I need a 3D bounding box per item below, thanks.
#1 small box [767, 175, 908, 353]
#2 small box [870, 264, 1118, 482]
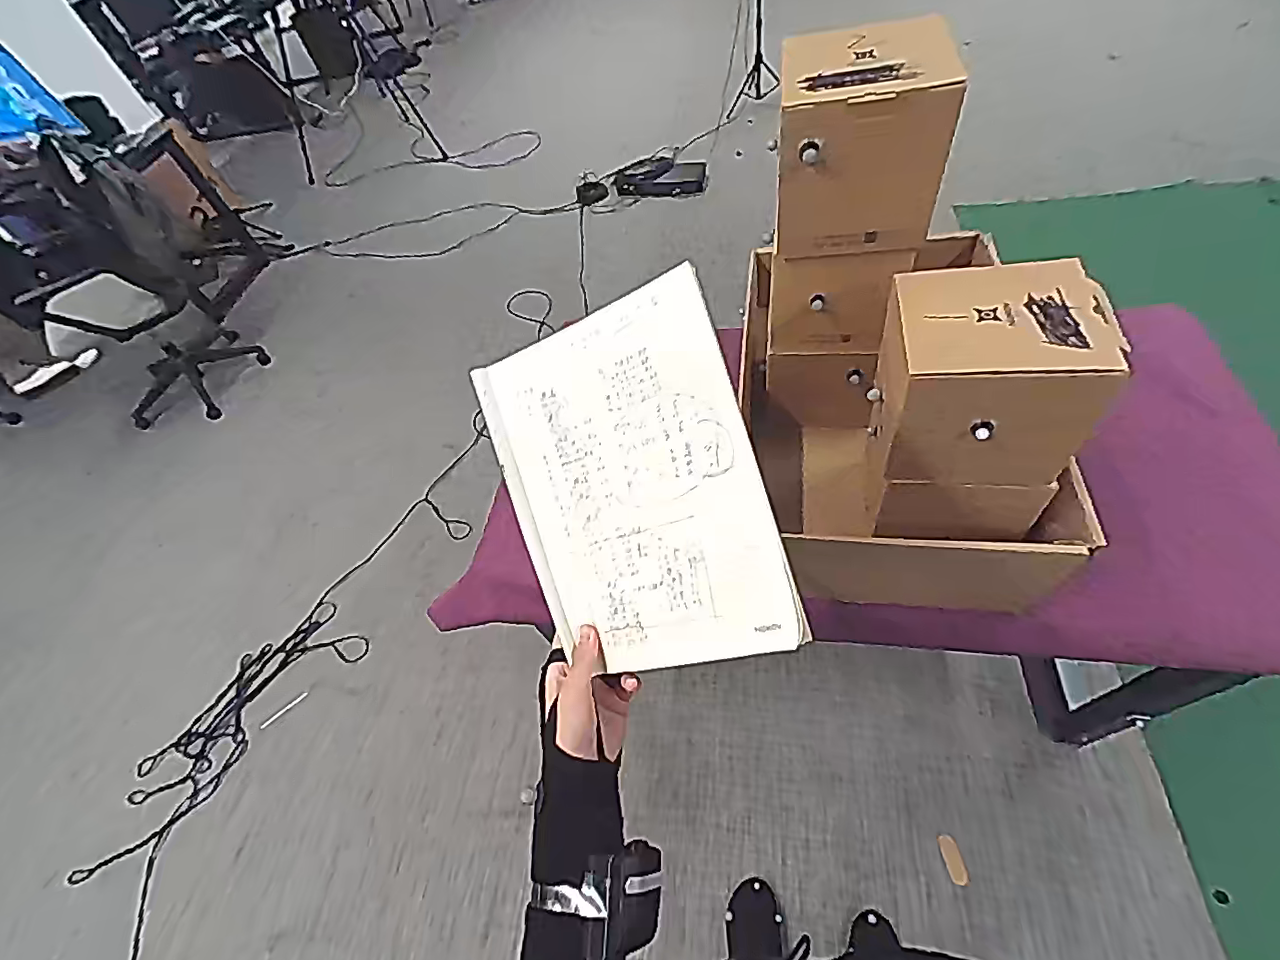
[{"bbox_3d":[0.267,-0.294,0.760,0.168,0.176,0.179,3,56,14],"label":"small box"},{"bbox_3d":[0.361,-0.111,0.595,0.179,0.176,0.168,1,53,16],"label":"small box"}]
